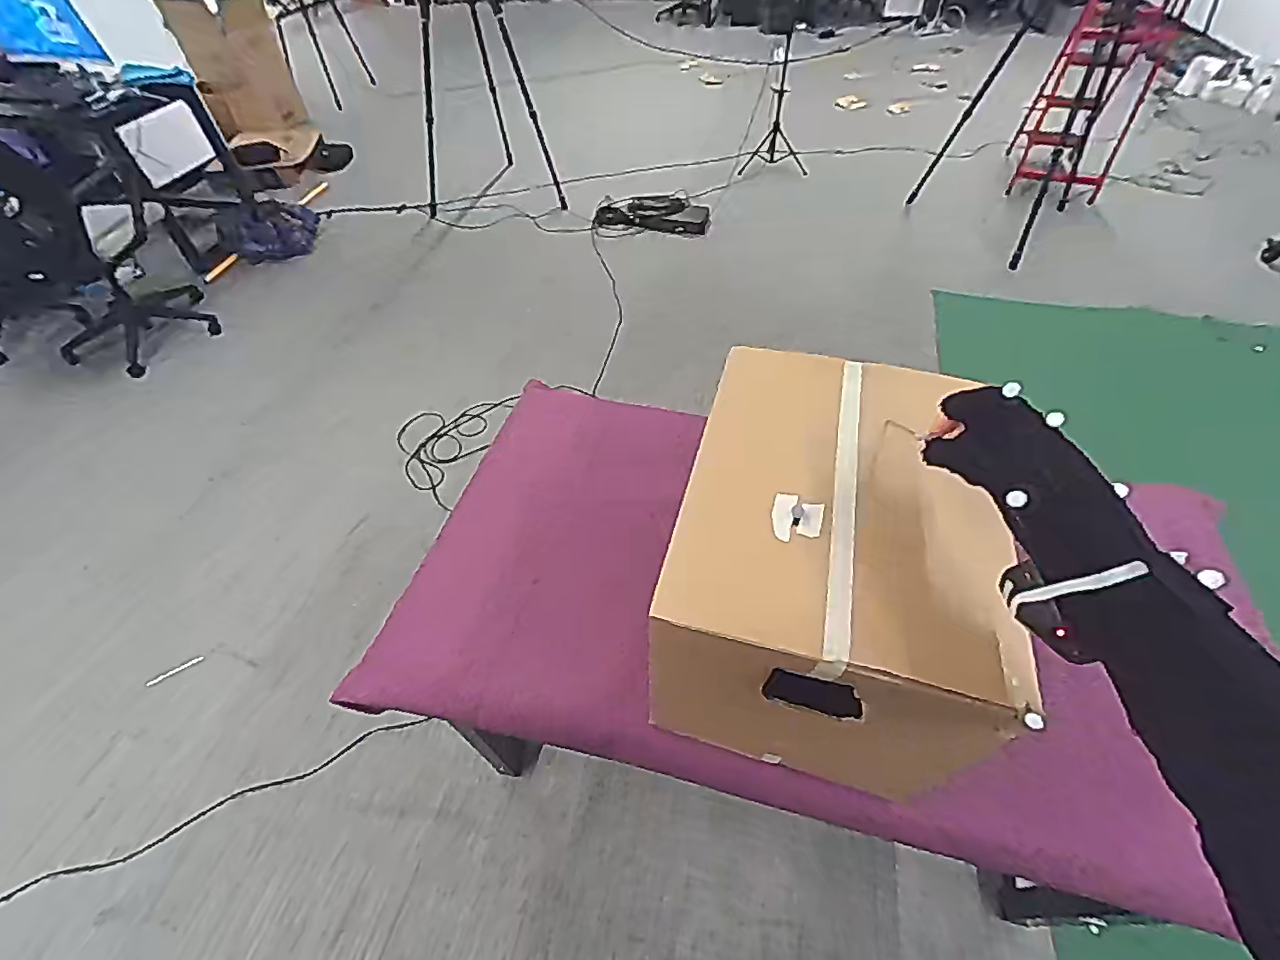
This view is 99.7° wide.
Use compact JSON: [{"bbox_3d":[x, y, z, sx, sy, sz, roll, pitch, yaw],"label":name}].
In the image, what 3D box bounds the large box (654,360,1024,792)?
[{"bbox_3d":[0.214,0.110,0.692,0.320,0.320,0.408,12,52,12],"label":"large box"}]
